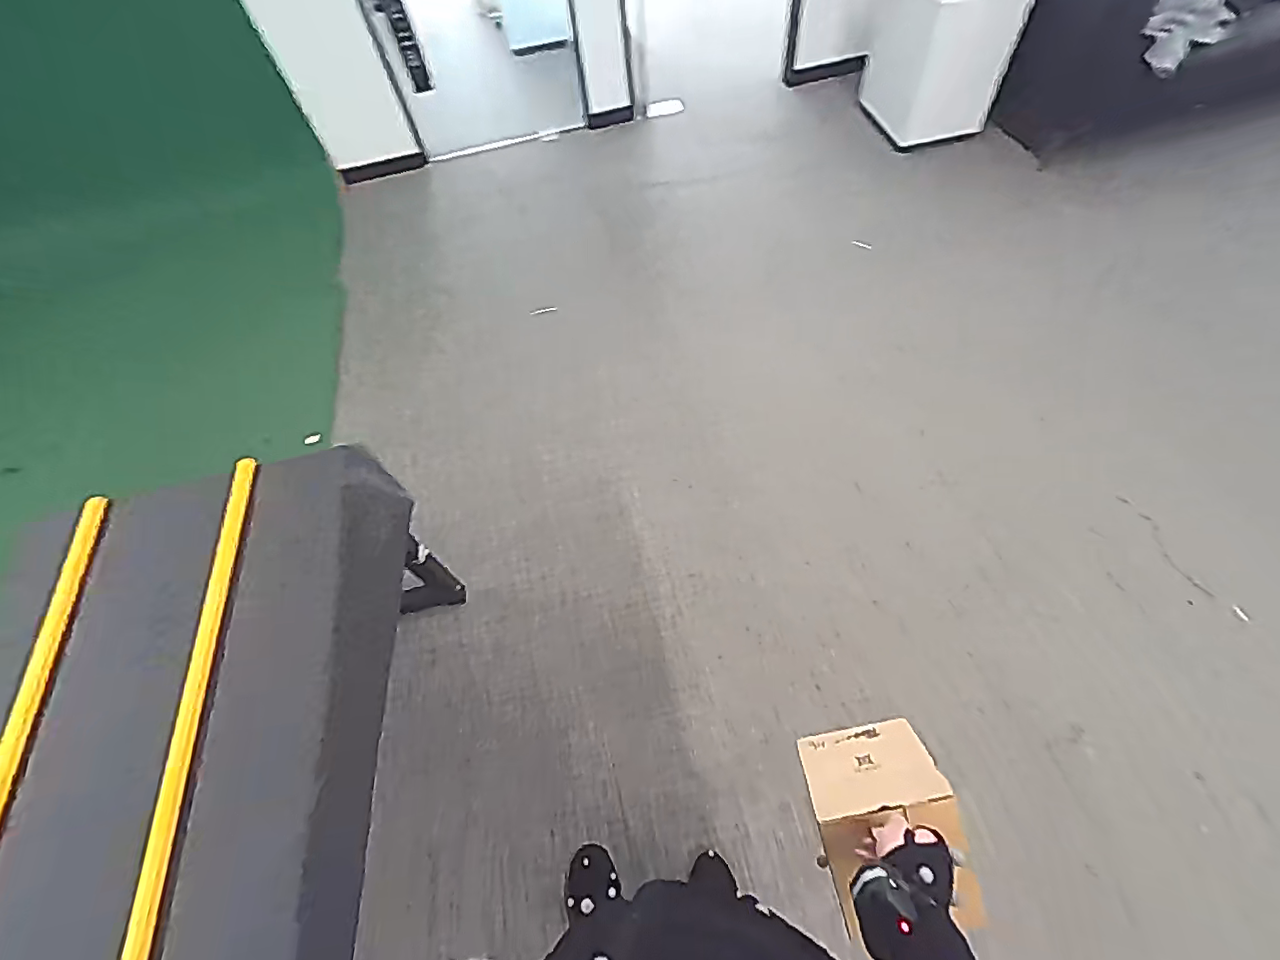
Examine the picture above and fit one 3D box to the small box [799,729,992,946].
[{"bbox_3d":[0.333,0.478,0.730,0.168,0.179,0.176,-18,92,8],"label":"small box"}]
